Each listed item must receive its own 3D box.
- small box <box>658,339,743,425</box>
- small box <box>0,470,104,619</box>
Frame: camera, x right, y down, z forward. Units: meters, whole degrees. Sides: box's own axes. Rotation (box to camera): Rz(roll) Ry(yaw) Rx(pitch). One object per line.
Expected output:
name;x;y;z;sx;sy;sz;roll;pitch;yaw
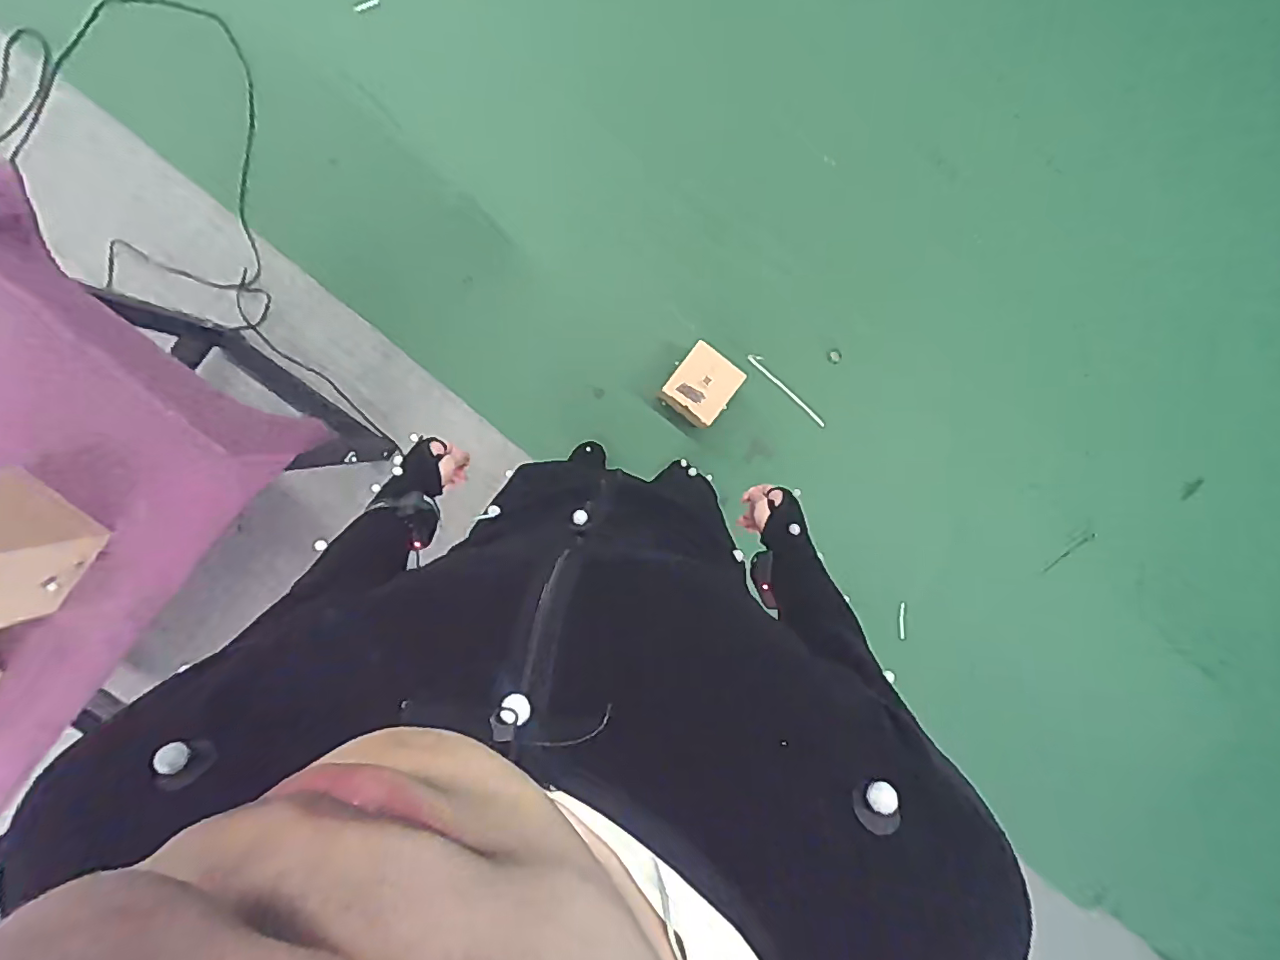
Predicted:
small box;0.163;-0.270;1.547;0.168;0.176;0.179;37;90;-5
small box;-0.958;0.097;0.775;0.179;0.176;0.168;39;92;-5
